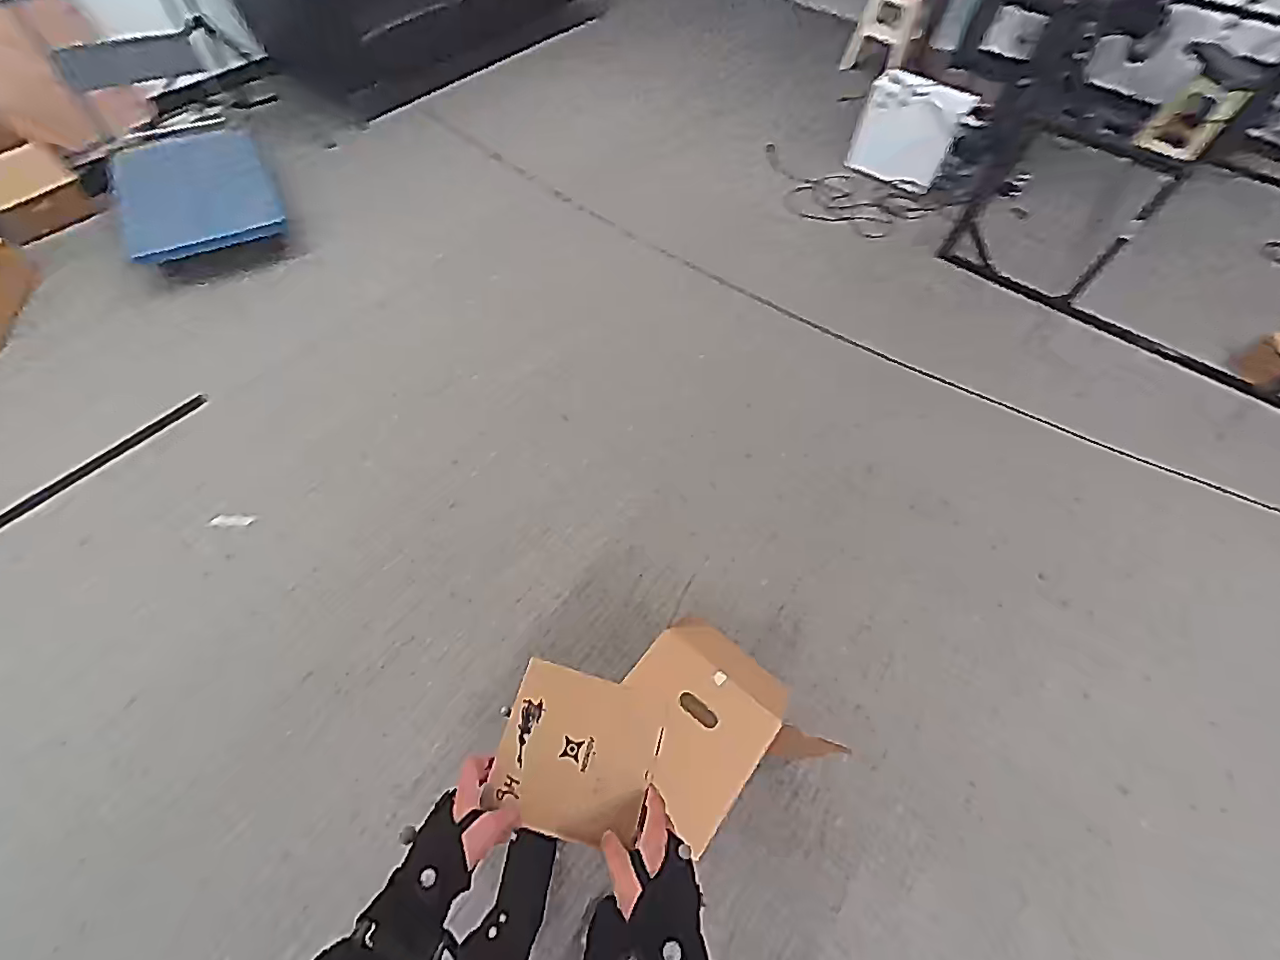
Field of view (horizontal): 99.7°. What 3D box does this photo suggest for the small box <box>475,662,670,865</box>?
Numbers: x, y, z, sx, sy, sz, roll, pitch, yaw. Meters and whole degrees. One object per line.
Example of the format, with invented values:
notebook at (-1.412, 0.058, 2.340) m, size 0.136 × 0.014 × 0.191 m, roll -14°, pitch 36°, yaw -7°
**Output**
small box at (-0.081, 0.339, 0.669) m, size 0.179 × 0.176 × 0.168 m, roll 19°, pitch 63°, yaw -1°
